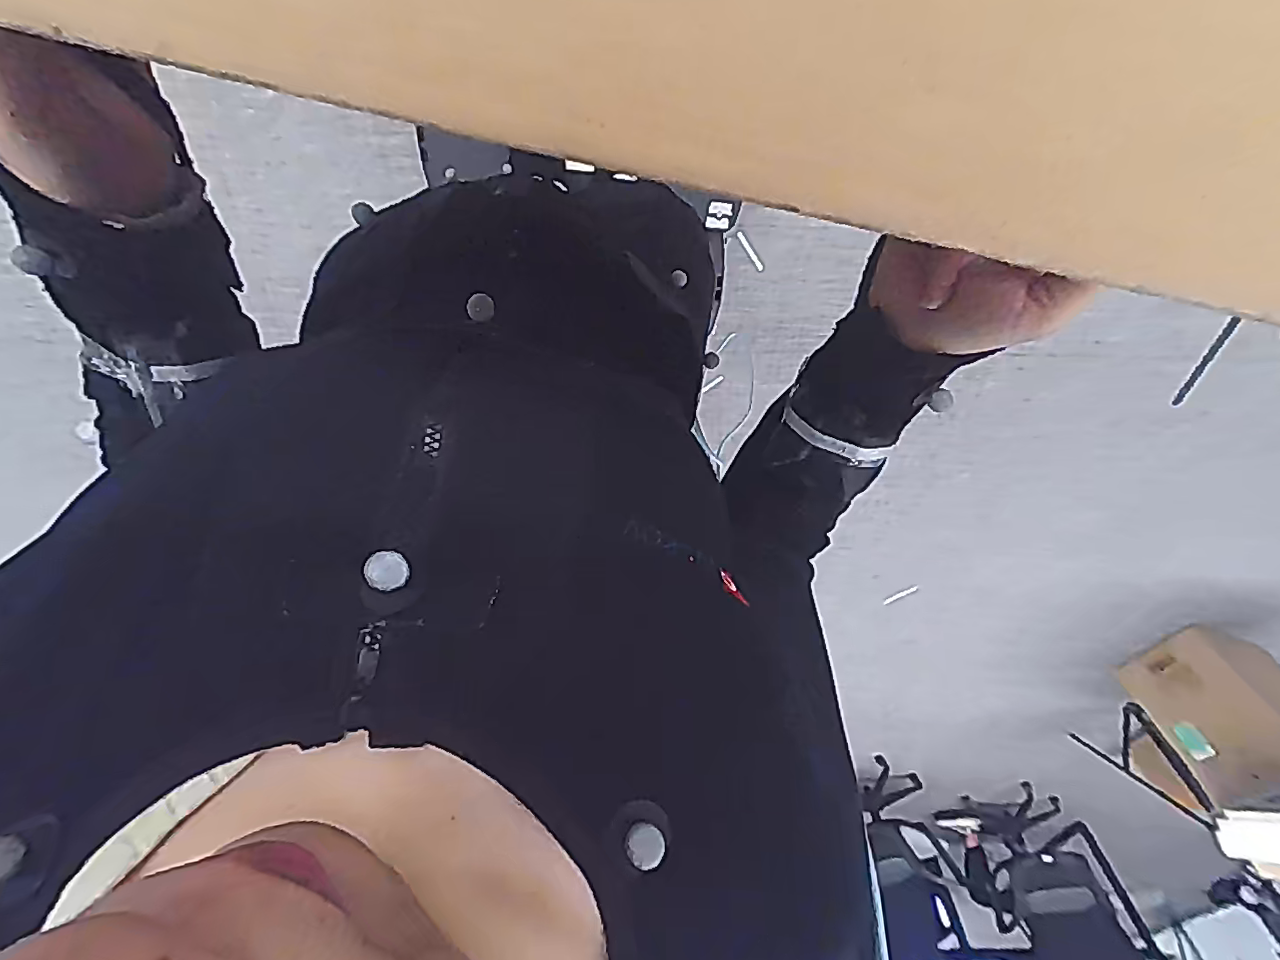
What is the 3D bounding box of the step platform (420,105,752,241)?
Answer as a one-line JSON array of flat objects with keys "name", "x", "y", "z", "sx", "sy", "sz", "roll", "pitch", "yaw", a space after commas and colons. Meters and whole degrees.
[{"name": "step platform", "x": -0.098, "y": -0.709, "z": 1.143, "sx": 0.684, "sy": 0.204, "sz": 0.286, "roll": 5, "pitch": 129, "yaw": -6}]
